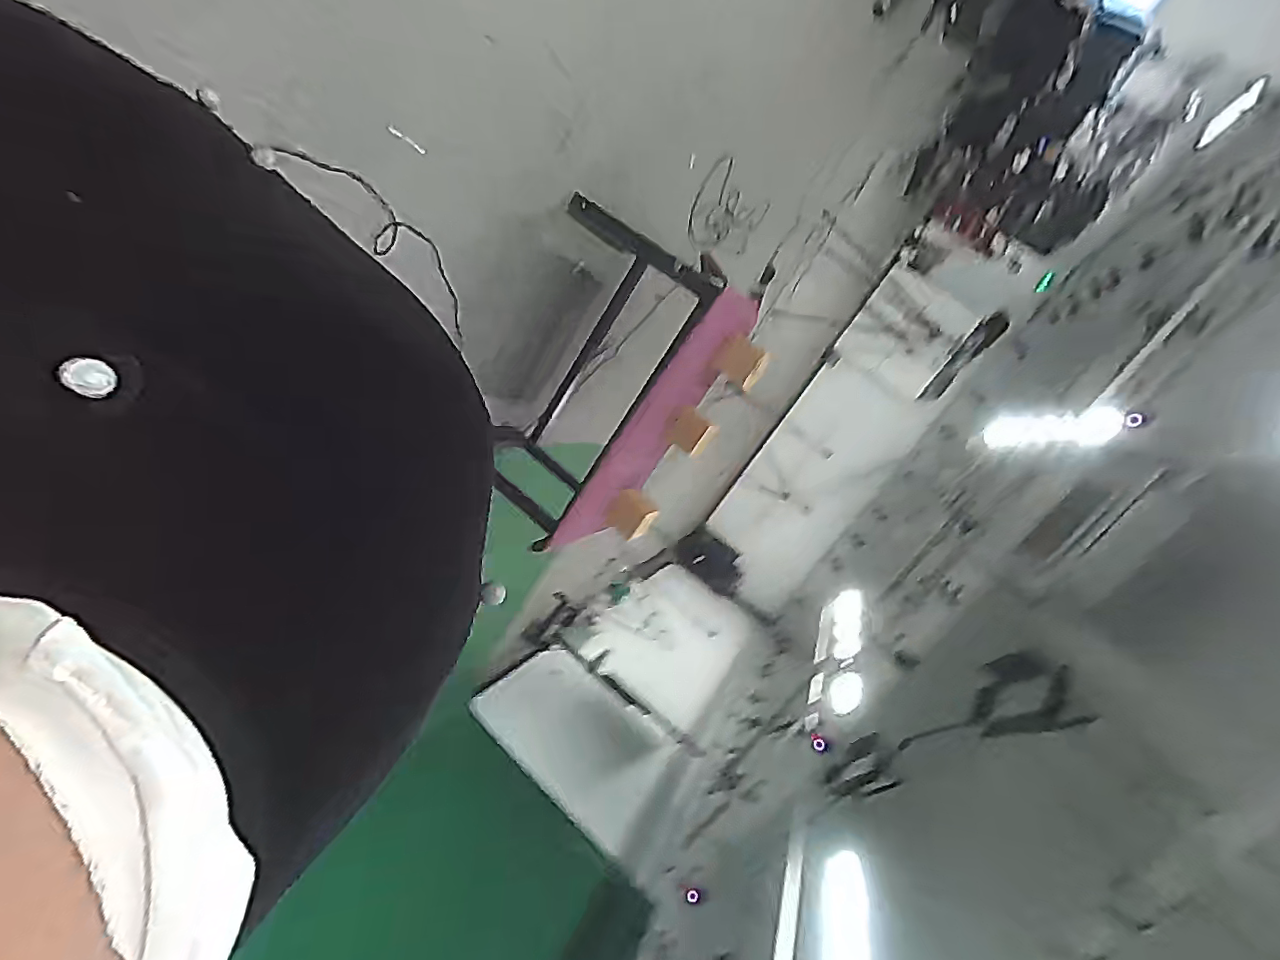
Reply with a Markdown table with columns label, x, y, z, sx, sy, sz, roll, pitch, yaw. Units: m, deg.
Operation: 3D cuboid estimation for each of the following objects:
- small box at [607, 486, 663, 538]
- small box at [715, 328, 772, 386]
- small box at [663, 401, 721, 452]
| label | x | y | z | sx | sy | sz | roll | pitch | yaw |
| --- | --- | --- | --- | --- | --- | --- | --- | --- | --- |
| small box | -0.024 | 0.141 | 2.515 | 0.168 | 0.176 | 0.179 | -57 | 165 | 16 |
| small box | 0.445 | -0.531 | 2.329 | 0.168 | 0.176 | 0.179 | -55 | 164 | 14 |
| small box | 0.232 | -0.238 | 2.398 | 0.168 | 0.176 | 0.179 | -57 | 164 | 15 |
